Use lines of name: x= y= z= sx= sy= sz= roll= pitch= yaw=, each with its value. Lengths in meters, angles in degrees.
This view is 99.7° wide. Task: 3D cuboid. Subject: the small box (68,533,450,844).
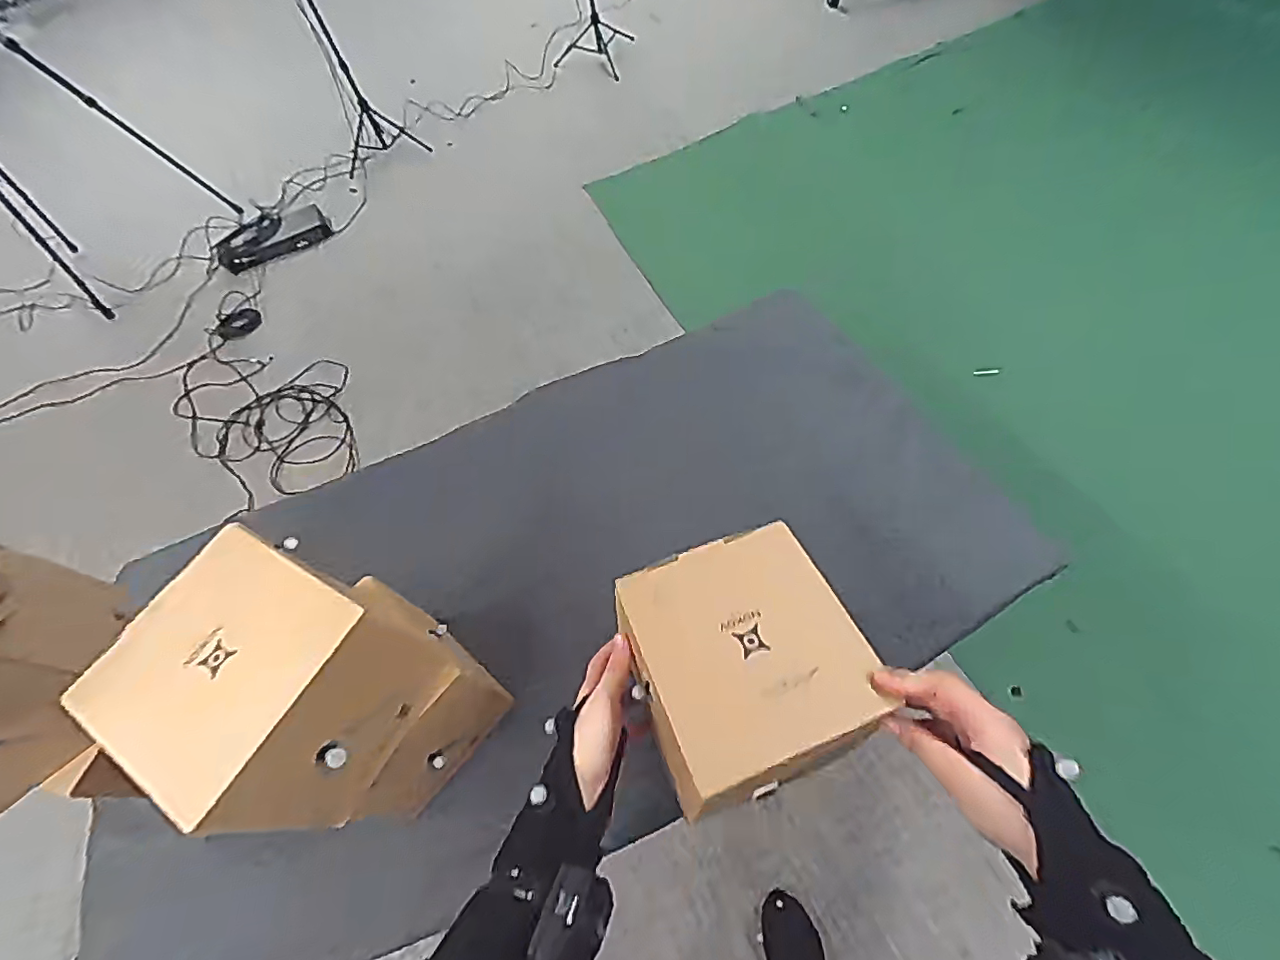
small box: x=-0.304 y=0.178 z=0.472 sx=0.179 sy=0.176 sz=0.168 roll=22 pitch=65 yaw=21

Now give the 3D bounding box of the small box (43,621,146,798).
small box: x=-0.603 y=0.274 z=0.656 sx=0.179 sy=0.176 sz=0.168 roll=10 pitch=61 yaw=14

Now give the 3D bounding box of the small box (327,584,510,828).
small box: x=-0.279 y=0.254 z=0.613 sx=0.179 sy=0.176 sz=0.168 roll=33 pitch=69 yaw=26

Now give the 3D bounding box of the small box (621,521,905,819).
small box: x=0.089 y=0.171 z=0.485 sx=0.168 sy=0.176 sz=0.179 roll=-18 pitch=53 yaw=-11

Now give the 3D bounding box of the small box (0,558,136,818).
small box: x=-0.624 y=0.193 z=0.513 sx=0.179 sy=0.176 sz=0.168 roll=-42 pitch=63 yaw=-15
